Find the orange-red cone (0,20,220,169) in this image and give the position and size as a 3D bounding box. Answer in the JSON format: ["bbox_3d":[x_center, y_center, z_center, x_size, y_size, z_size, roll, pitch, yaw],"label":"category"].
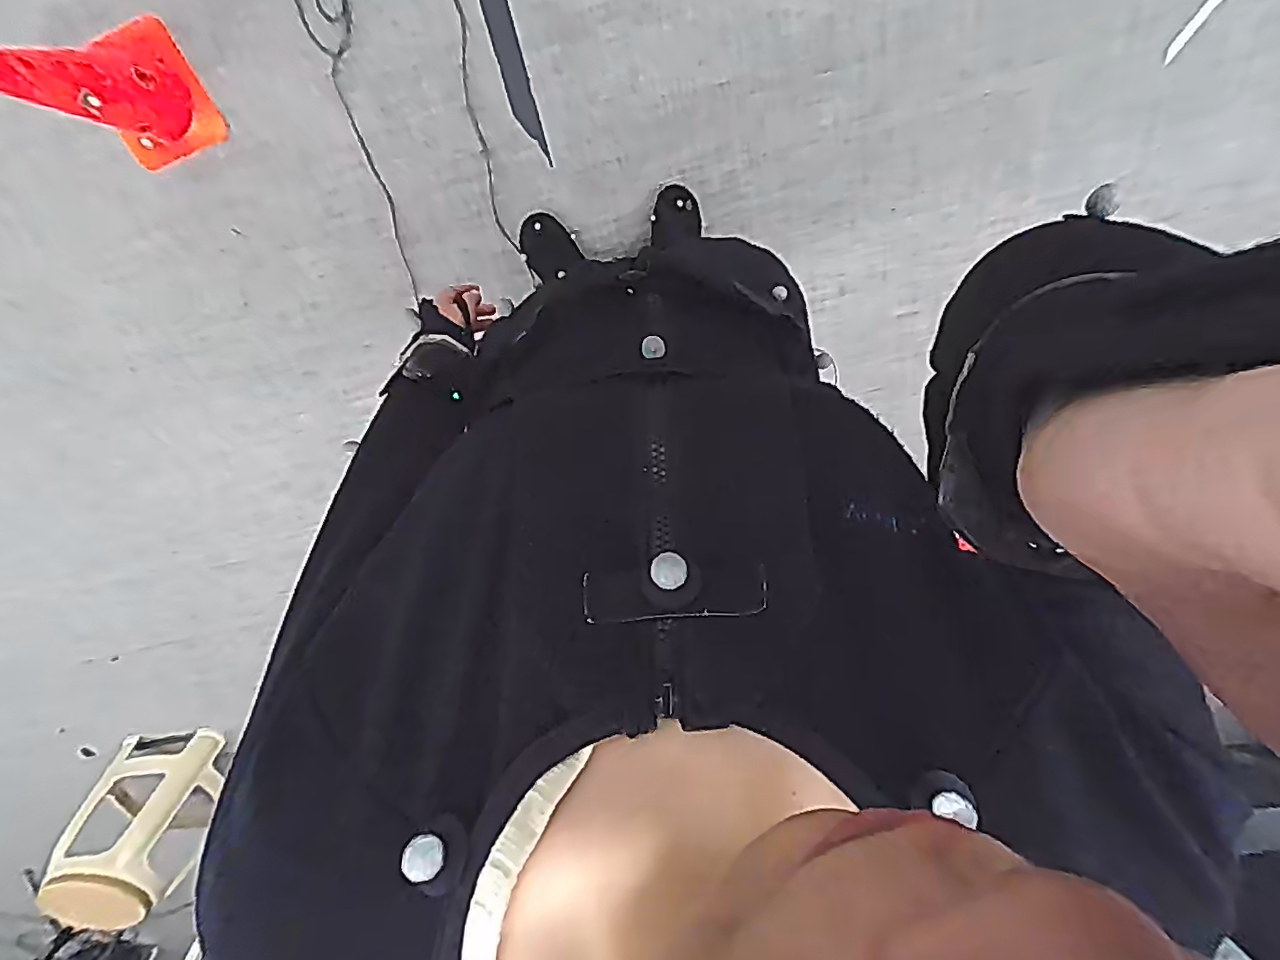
[{"bbox_3d":[-0.913,-0.631,0.862,0.199,0.360,0.198,-18,119,6],"label":"orange-red cone"}]
